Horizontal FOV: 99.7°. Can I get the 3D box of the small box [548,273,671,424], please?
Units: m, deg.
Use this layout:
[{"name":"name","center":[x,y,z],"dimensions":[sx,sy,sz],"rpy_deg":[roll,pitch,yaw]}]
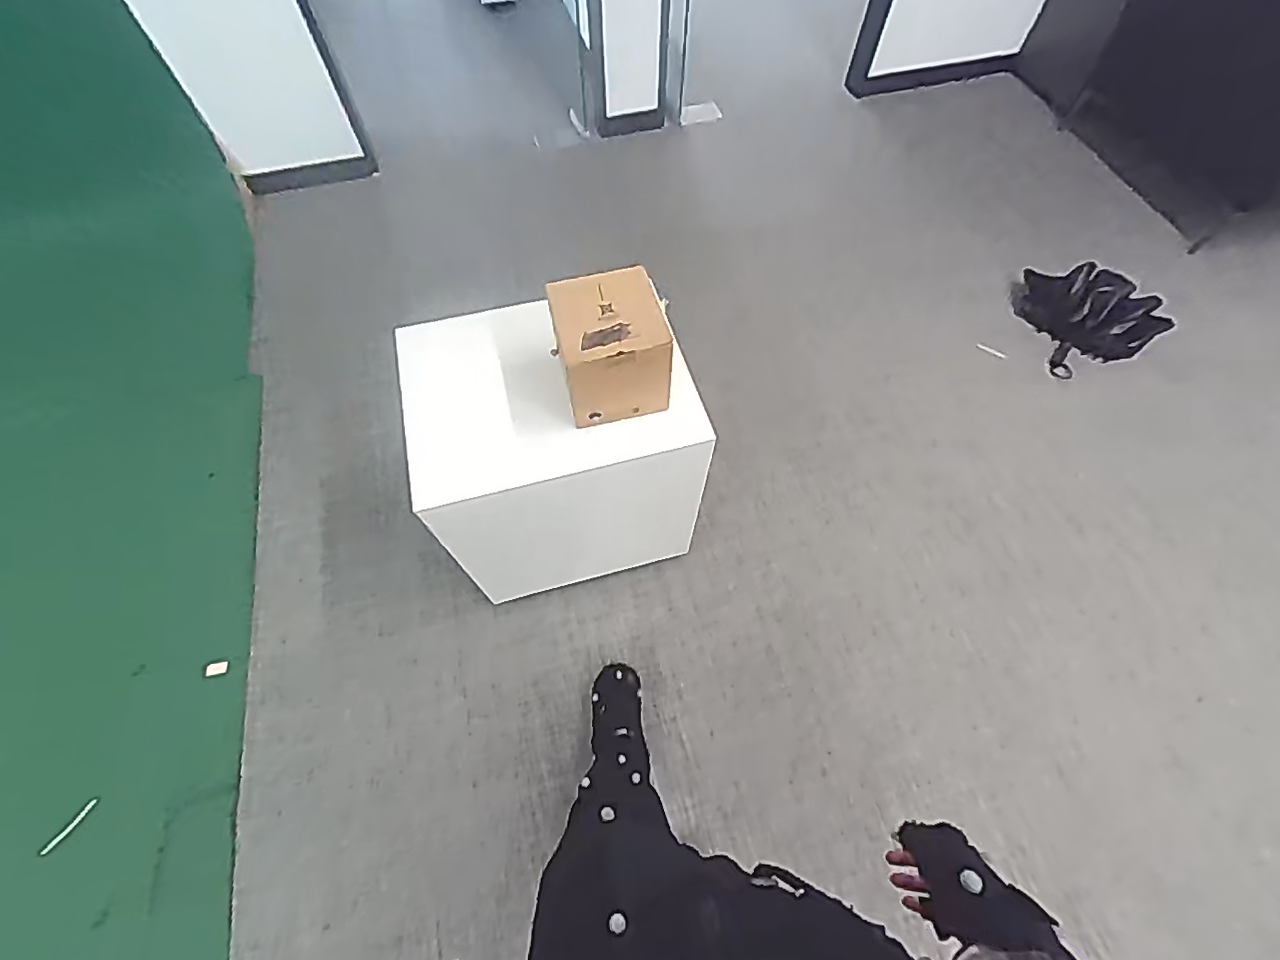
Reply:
[{"name":"small box","center":[-0.049,-0.211,0.911],"dimensions":[0.168,0.176,0.179],"rpy_deg":[-13,61,-7]}]
